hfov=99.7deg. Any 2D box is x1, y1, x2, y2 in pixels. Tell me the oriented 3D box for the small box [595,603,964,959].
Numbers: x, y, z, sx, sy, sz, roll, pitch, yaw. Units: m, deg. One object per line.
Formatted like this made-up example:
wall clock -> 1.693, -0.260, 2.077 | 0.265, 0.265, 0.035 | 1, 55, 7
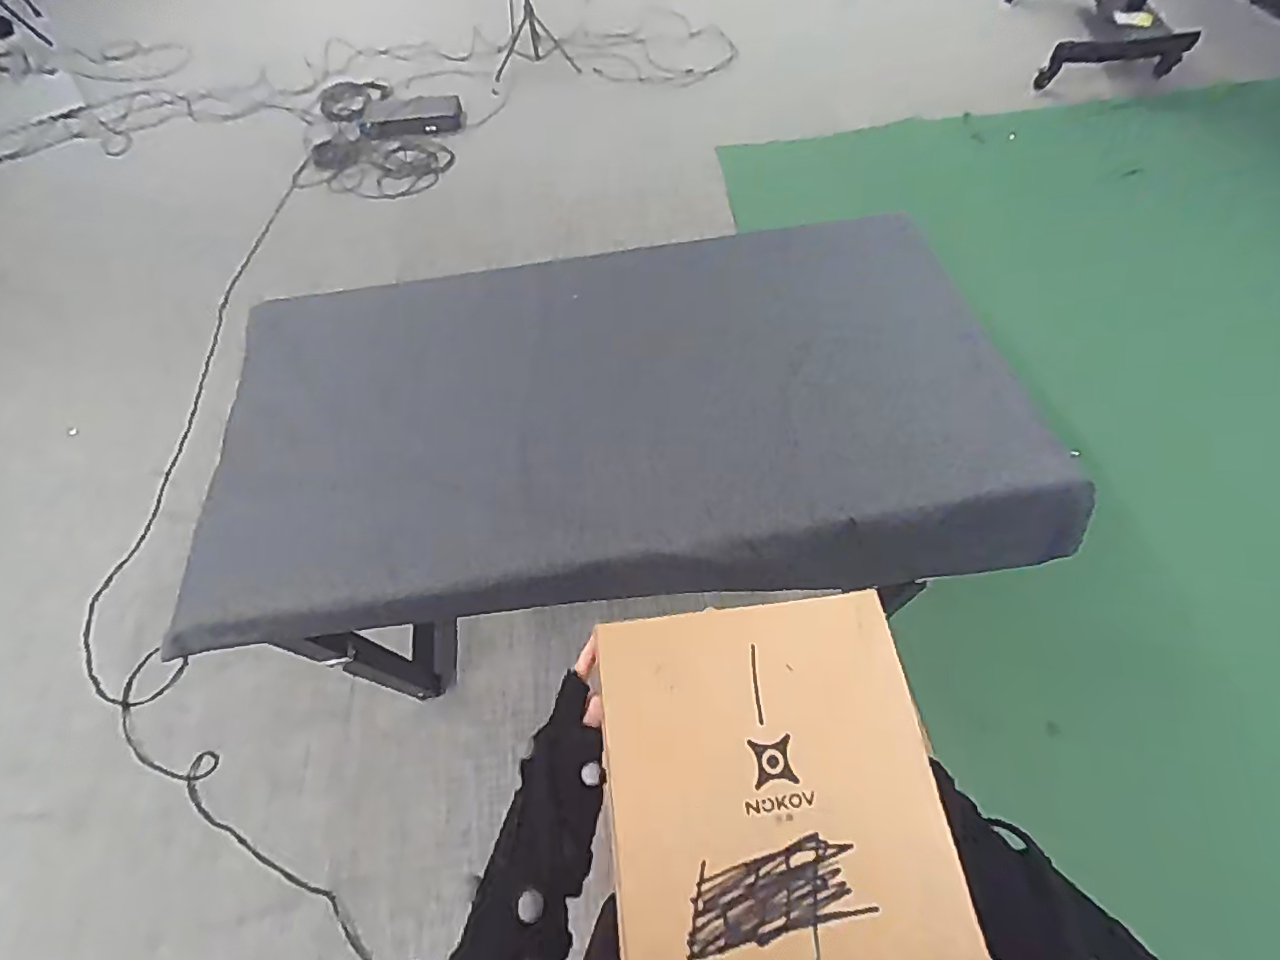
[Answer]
small box -> 0.060, 0.189, 0.354 | 0.168, 0.176, 0.179 | -5, 66, -7
